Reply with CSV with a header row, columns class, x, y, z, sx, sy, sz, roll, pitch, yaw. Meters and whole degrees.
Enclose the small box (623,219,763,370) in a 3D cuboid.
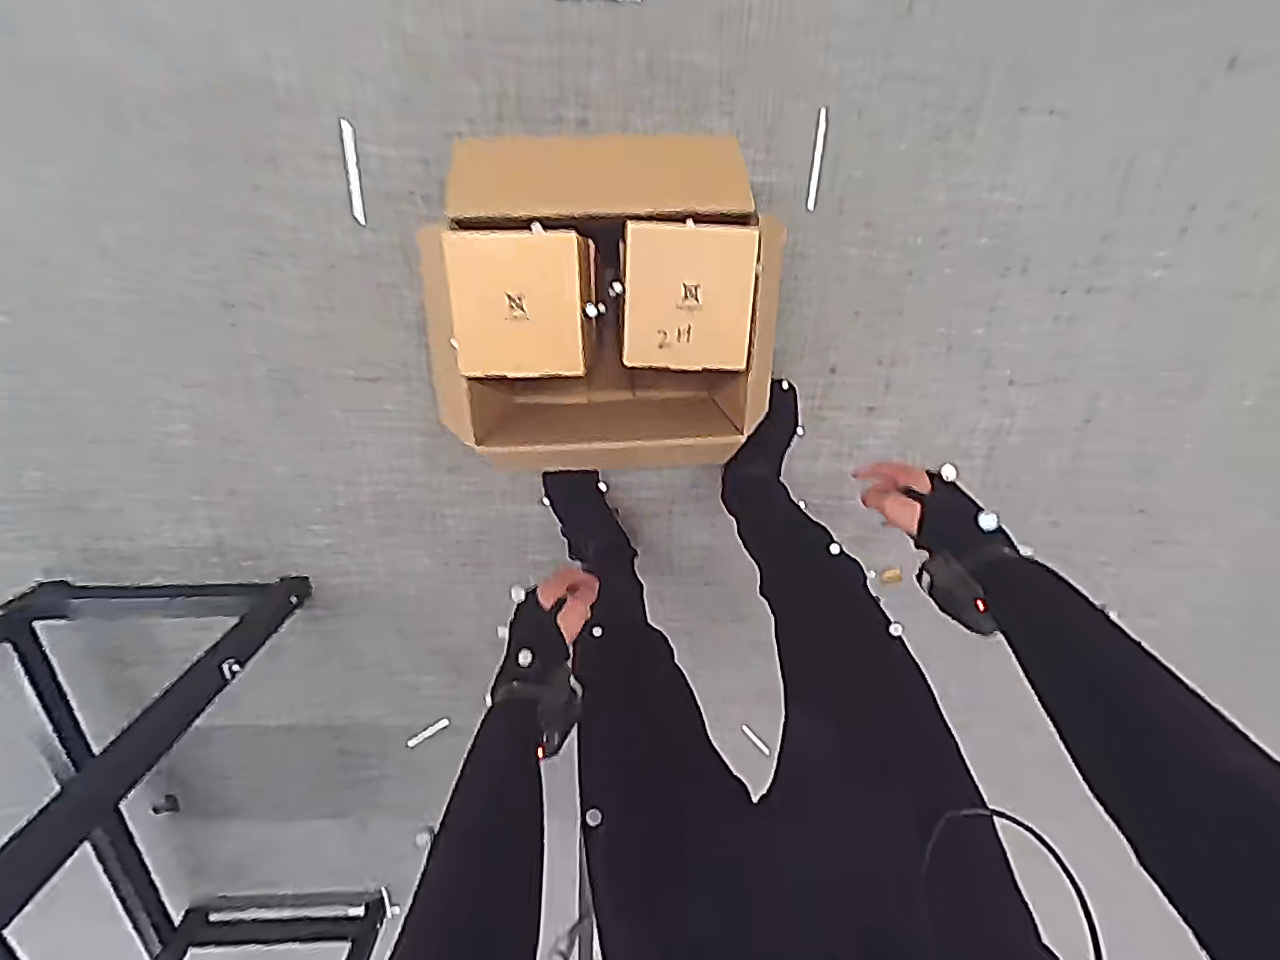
class,x,y,z,sx,sy,sz,roll,pitch,yaw
small box,0.062,-0.259,0.760,0.168,0.176,0.179,2,111,-3
